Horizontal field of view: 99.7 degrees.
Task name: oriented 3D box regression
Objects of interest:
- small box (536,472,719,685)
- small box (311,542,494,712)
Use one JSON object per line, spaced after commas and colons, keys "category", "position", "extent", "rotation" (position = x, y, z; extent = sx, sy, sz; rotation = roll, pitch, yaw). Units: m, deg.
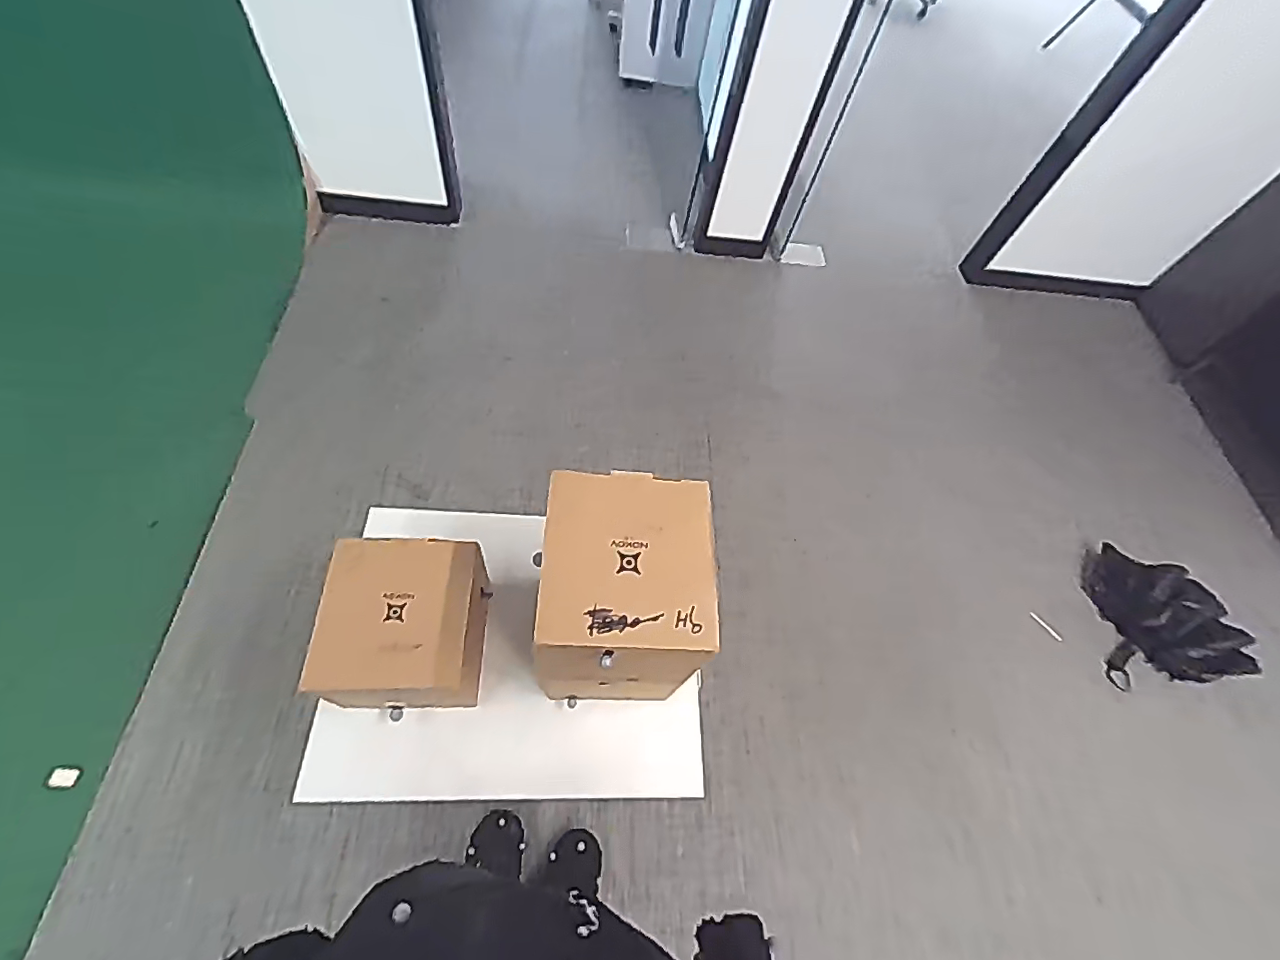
{"category": "small box", "position": [-0.019, 0.112, 0.583], "extent": [0.168, 0.176, 0.179], "rotation": [3, 59, -6]}
{"category": "small box", "position": [-0.284, 0.191, 0.692], "extent": [0.168, 0.176, 0.179], "rotation": [0, 62, -7]}
